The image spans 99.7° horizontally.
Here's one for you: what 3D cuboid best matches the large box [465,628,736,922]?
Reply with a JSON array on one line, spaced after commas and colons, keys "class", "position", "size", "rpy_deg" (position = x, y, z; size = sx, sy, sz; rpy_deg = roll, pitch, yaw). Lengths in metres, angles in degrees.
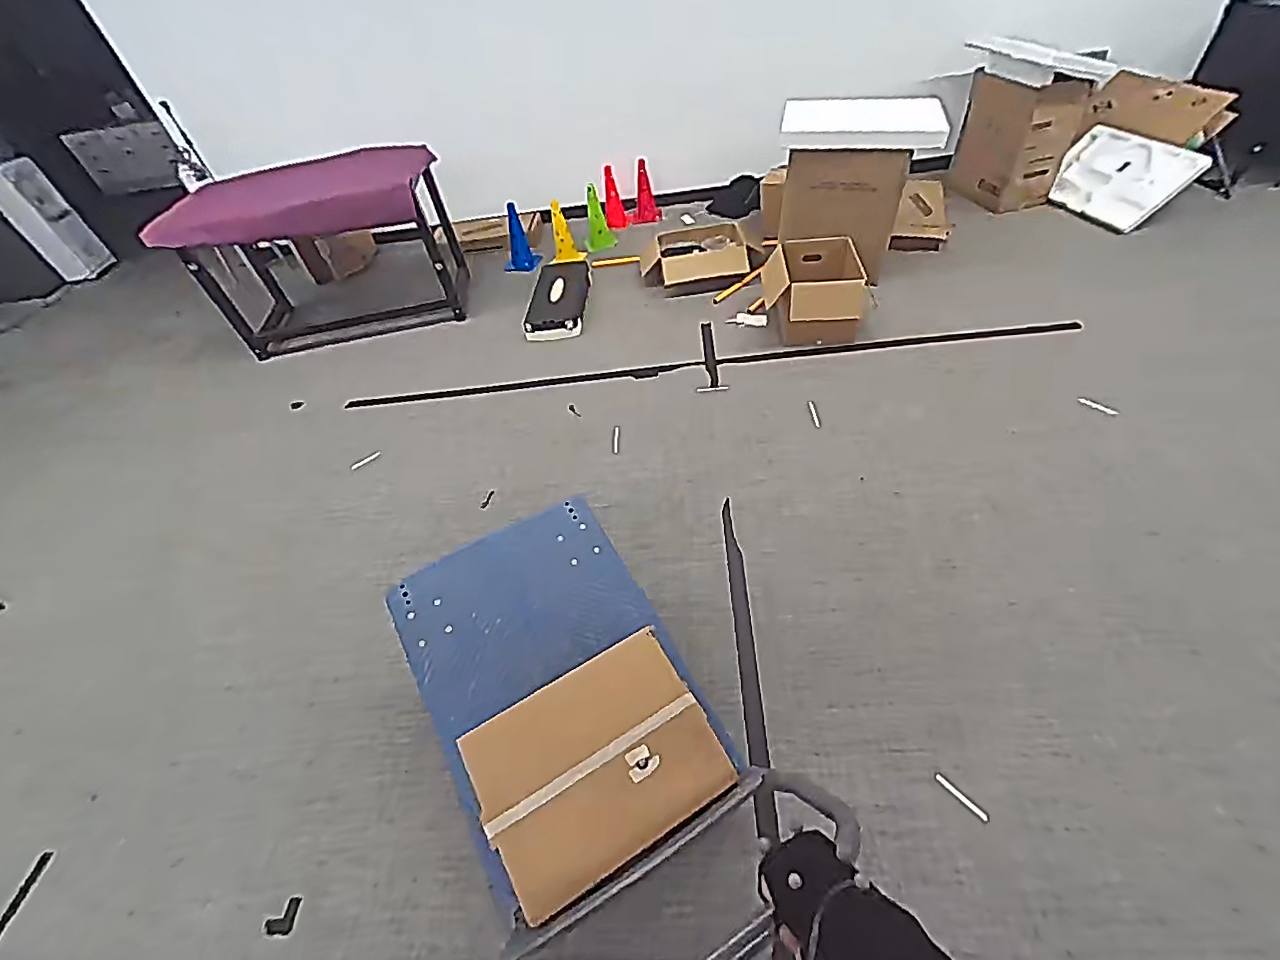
[{"class": "large box", "position": [-0.078, 0.574, 1.095], "size": [0.408, 0.320, 0.320], "rpy_deg": [-28, 65, -17]}]
